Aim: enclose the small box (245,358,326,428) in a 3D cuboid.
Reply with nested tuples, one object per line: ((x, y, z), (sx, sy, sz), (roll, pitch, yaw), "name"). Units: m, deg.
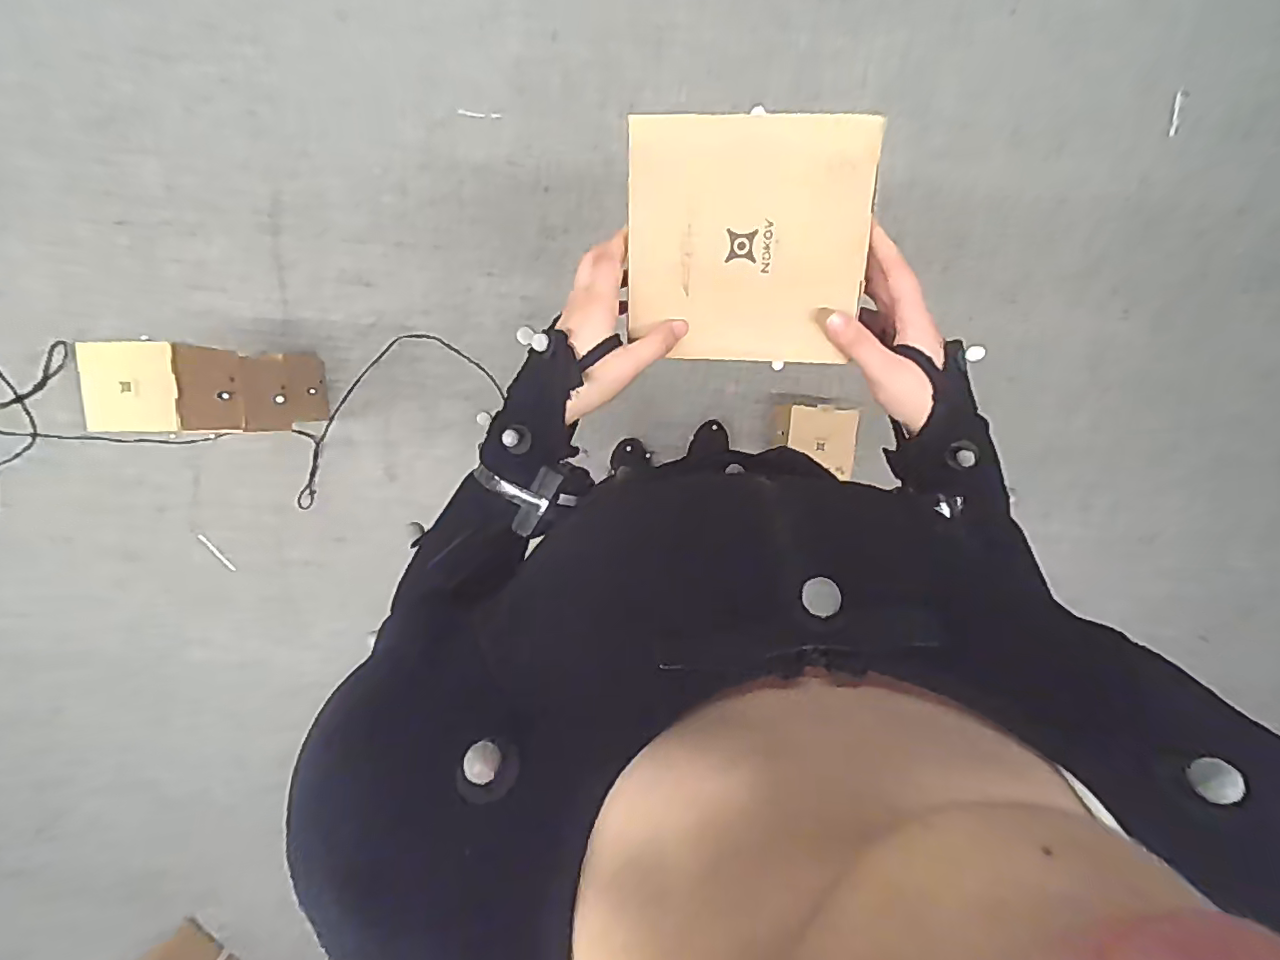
((-0.938, -0.219, 1.391), (0.179, 0.176, 0.168), (-3, 95, 2), "small box")

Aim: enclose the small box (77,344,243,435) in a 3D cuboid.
((-0.936, -0.172, 1.068), (0.179, 0.176, 0.168), (-1, 96, 0), "small box")

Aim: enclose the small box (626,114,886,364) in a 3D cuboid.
((0.083, -0.194, 0.465), (0.179, 0.176, 0.168), (2, 108, 5), "small box")

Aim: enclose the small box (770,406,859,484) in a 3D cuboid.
((0.438, -0.092, 1.381), (0.168, 0.176, 0.179), (5, 96, 1), "small box")

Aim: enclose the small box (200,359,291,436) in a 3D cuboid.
((-0.938, -0.184, 1.231), (0.179, 0.176, 0.168), (0, 97, 0), "small box")
